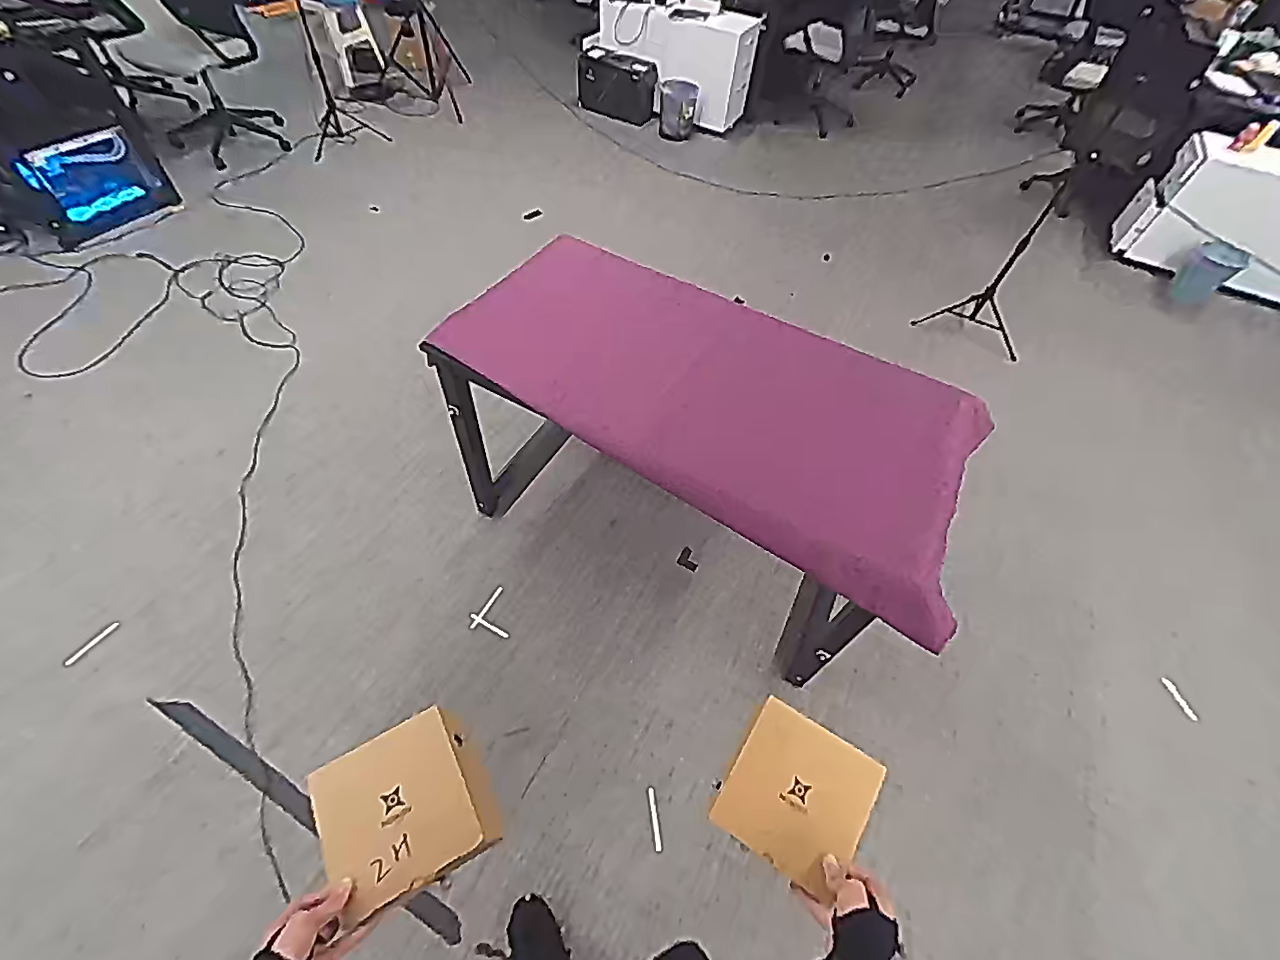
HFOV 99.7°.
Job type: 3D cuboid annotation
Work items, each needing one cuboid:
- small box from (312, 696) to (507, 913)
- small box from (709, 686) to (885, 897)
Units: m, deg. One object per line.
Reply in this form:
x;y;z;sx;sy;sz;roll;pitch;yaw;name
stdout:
-0.294;0.419;0.714;0.168;0.176;0.179;-25;63;-16;small box
0.203;0.415;0.747;0.168;0.176;0.179;28;70;18;small box
